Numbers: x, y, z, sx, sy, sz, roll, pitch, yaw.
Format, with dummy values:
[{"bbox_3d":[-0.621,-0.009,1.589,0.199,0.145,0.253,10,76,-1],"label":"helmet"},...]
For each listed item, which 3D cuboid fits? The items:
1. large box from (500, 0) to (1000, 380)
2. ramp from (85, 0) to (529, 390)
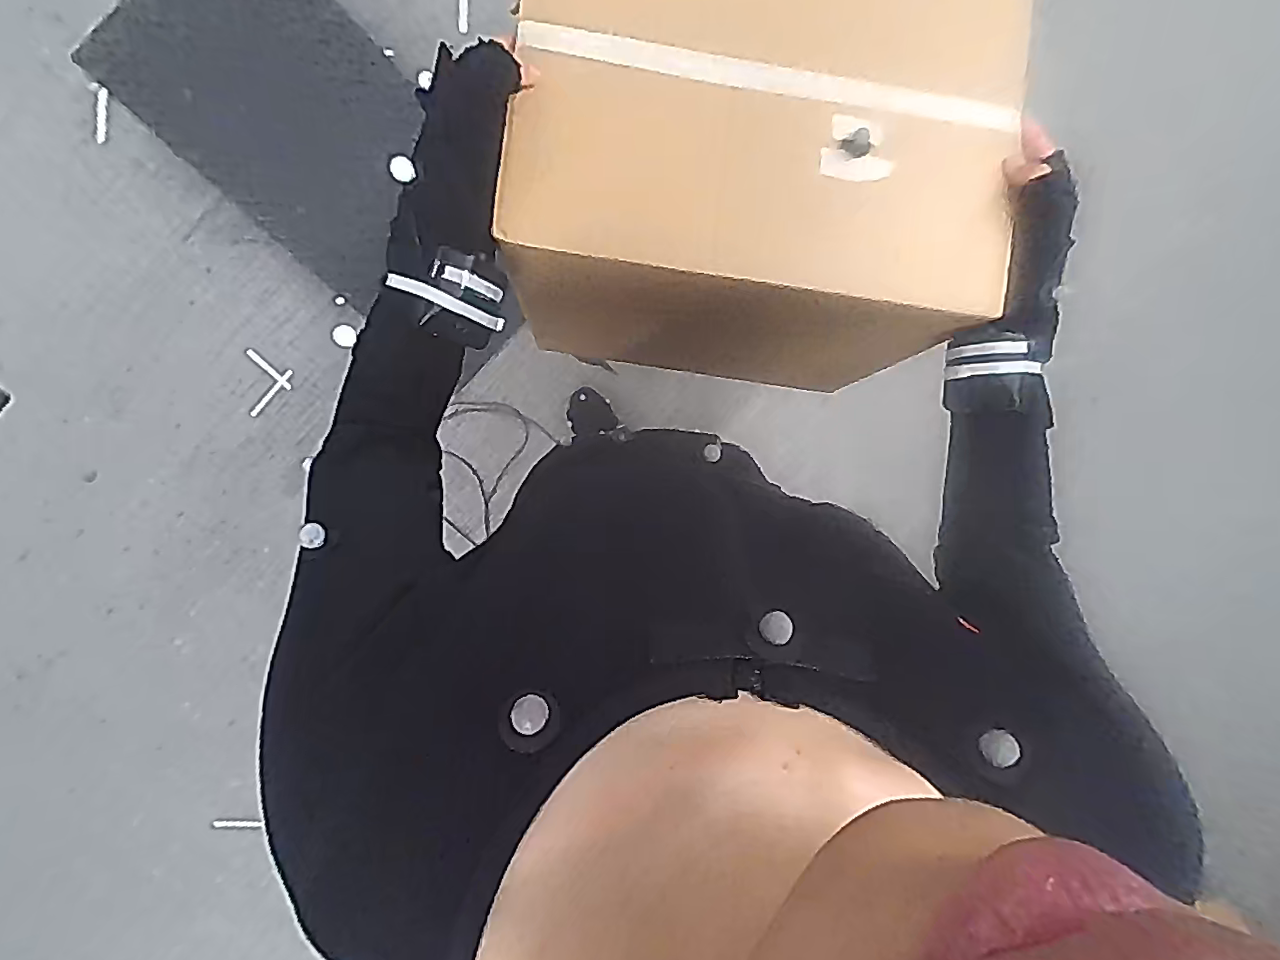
[{"bbox_3d":[0.086,-0.312,0.588,0.408,0.320,0.320,6,88,-5],"label":"large box"},{"bbox_3d":[-0.665,-0.734,1.286,0.991,0.206,0.509,42,91,-7],"label":"ramp"}]
